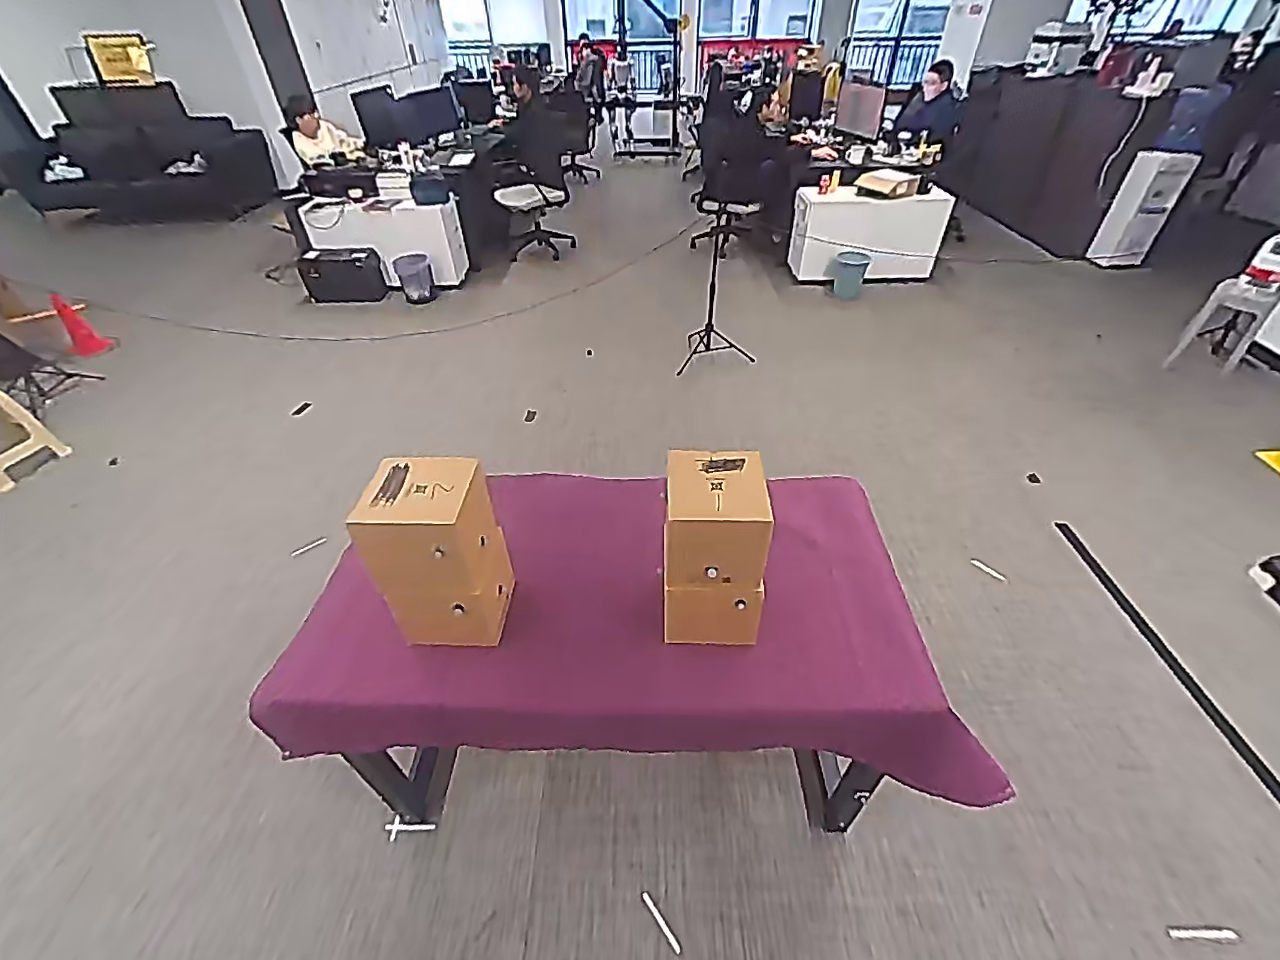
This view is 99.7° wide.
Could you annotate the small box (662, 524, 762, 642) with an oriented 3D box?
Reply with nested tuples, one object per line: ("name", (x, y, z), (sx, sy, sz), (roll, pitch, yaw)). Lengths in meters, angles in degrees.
("small box", (0.131, 0.197, 1.045), (0.179, 0.176, 0.168), (1, 41, 2))

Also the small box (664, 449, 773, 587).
("small box", (0.128, 0.065, 0.946), (0.168, 0.176, 0.179), (1, 42, 2))

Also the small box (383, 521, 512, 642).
("small box", (-0.358, 0.199, 1.050), (0.179, 0.176, 0.168), (1, 41, 3))
